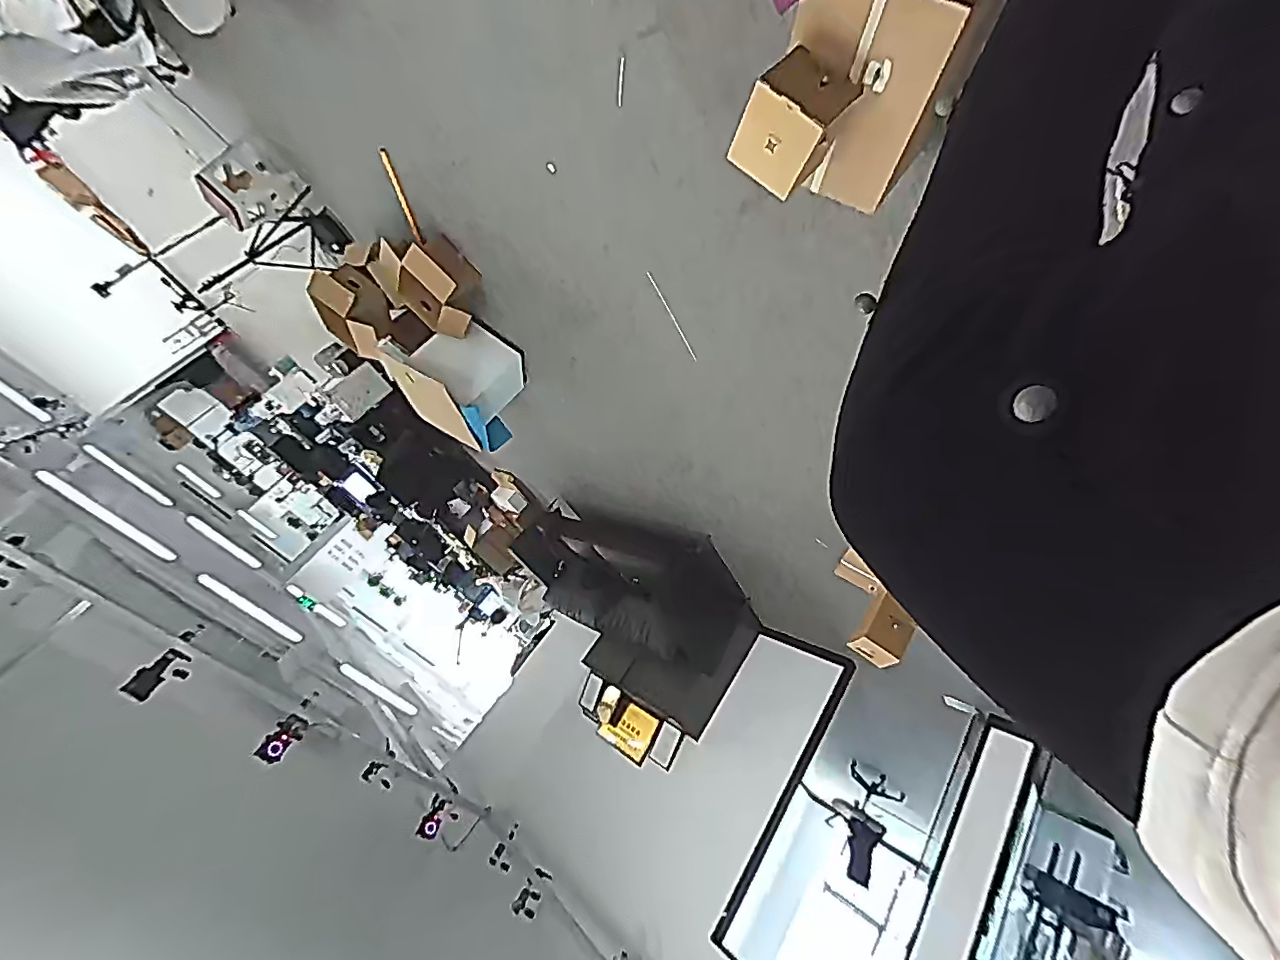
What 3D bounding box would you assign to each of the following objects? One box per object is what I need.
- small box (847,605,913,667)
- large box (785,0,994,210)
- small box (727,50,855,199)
[{"bbox_3d":[1.009,0.653,2.267,0.168,0.176,0.179,34,155,12],"label":"small box"},{"bbox_3d":[0.517,-0.906,1.190,0.320,0.320,0.408,32,155,13],"label":"large box"},{"bbox_3d":[0.320,-0.750,1.144,0.168,0.176,0.179,39,157,4],"label":"small box"}]
